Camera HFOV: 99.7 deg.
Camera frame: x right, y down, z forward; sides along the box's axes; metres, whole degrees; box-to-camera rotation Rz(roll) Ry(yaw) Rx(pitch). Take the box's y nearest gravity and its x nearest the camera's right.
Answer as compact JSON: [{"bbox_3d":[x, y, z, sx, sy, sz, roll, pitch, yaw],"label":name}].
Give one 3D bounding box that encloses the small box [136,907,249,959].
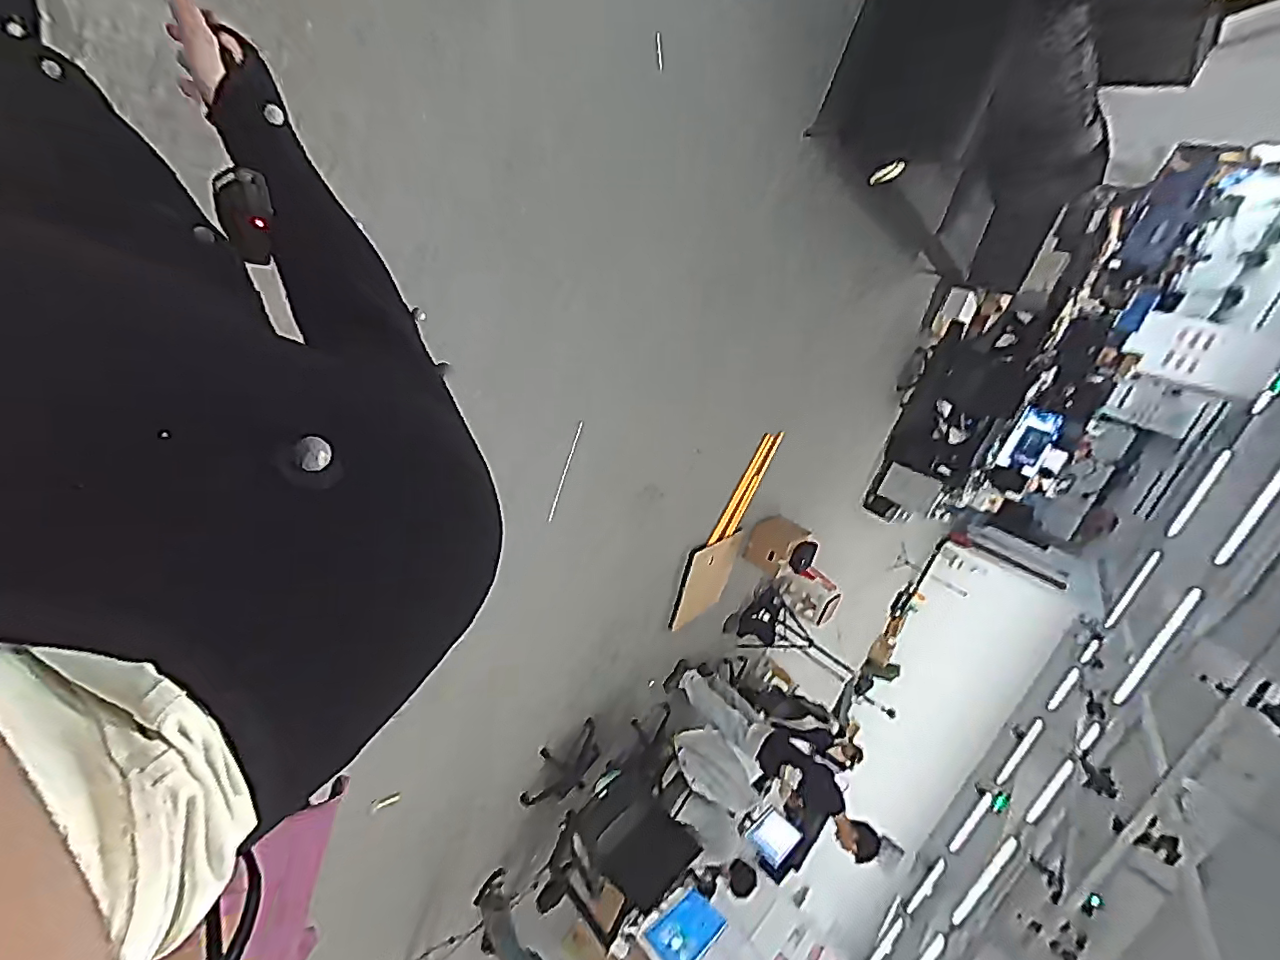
[{"bbox_3d":[-0.925,1.049,1.114,0.168,0.176,0.179,1,115,-51],"label":"small box"}]
